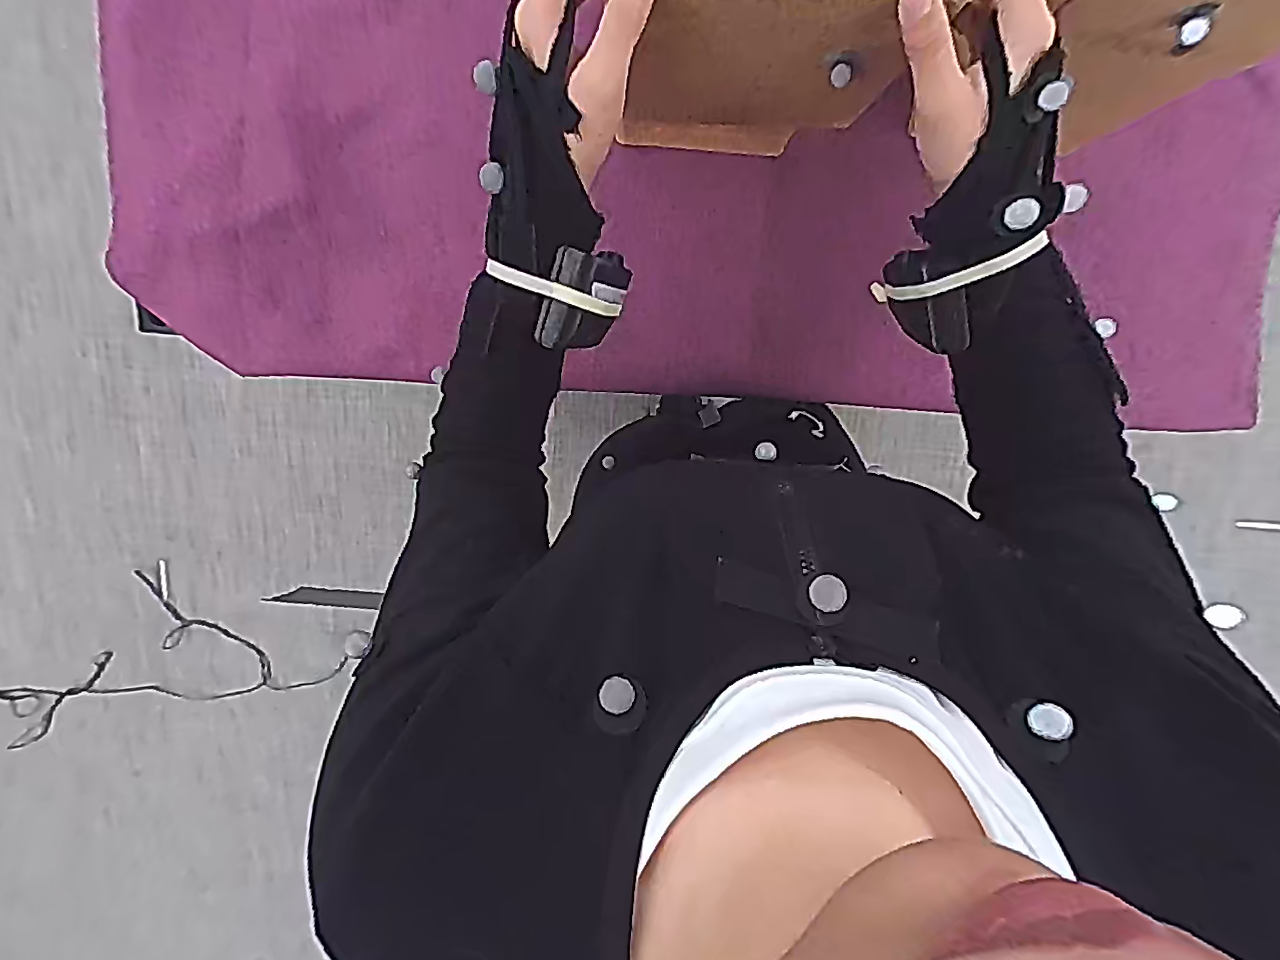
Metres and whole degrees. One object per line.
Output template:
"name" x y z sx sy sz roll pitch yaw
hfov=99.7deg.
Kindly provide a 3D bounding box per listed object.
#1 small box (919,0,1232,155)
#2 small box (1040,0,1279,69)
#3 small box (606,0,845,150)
"small box" 0.370 -0.413 0.461 0.168 0.176 0.179 8 102 -1
"small box" 0.372 -0.379 0.300 0.168 0.176 0.179 8 102 0
"small box" 0.067 -0.410 0.466 0.179 0.176 0.168 4 101 -1
